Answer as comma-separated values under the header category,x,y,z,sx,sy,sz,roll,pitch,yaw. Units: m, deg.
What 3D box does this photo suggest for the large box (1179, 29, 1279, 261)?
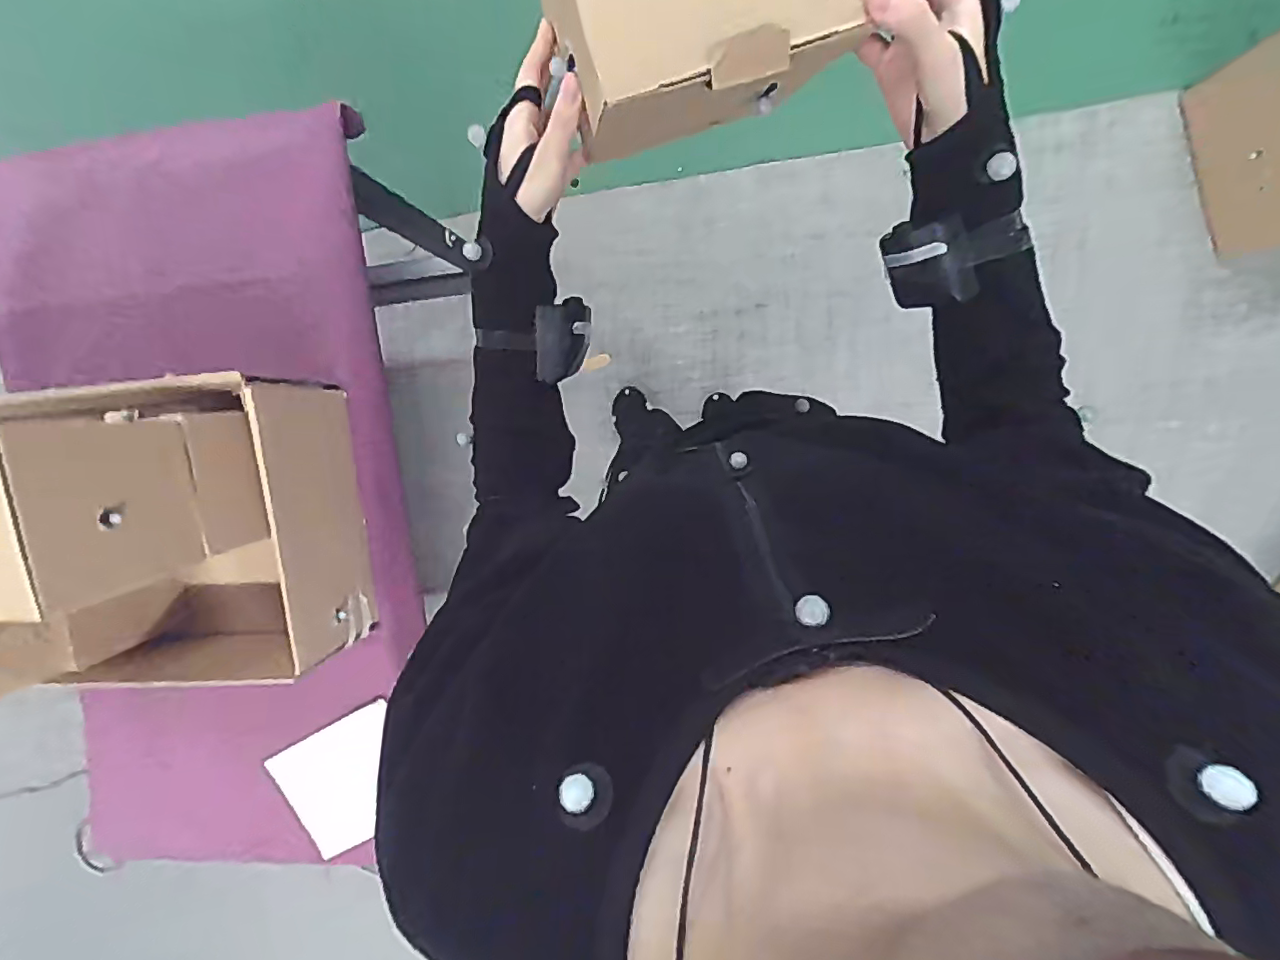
category,x,y,z,sx,sy,sz,roll,pitch,yaw
large box,1.438,-0.733,1.099,0.320,0.320,0.408,-20,93,8

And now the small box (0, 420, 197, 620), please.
category,x,y,z,sx,sy,sz,roll,pitch,yaw
small box,-0.616,0.029,0.560,0.168,0.176,0.179,-2,100,8

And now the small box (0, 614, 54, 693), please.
category,x,y,z,sx,sy,sz,roll,pitch,yaw
small box,-0.830,0.175,0.612,0.179,0.176,0.168,-2,98,6

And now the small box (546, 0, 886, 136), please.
category,x,y,z,sx,sy,sz,roll,pitch,yaw
small box,0.024,-0.333,0.328,0.168,0.176,0.179,-17,112,-2
